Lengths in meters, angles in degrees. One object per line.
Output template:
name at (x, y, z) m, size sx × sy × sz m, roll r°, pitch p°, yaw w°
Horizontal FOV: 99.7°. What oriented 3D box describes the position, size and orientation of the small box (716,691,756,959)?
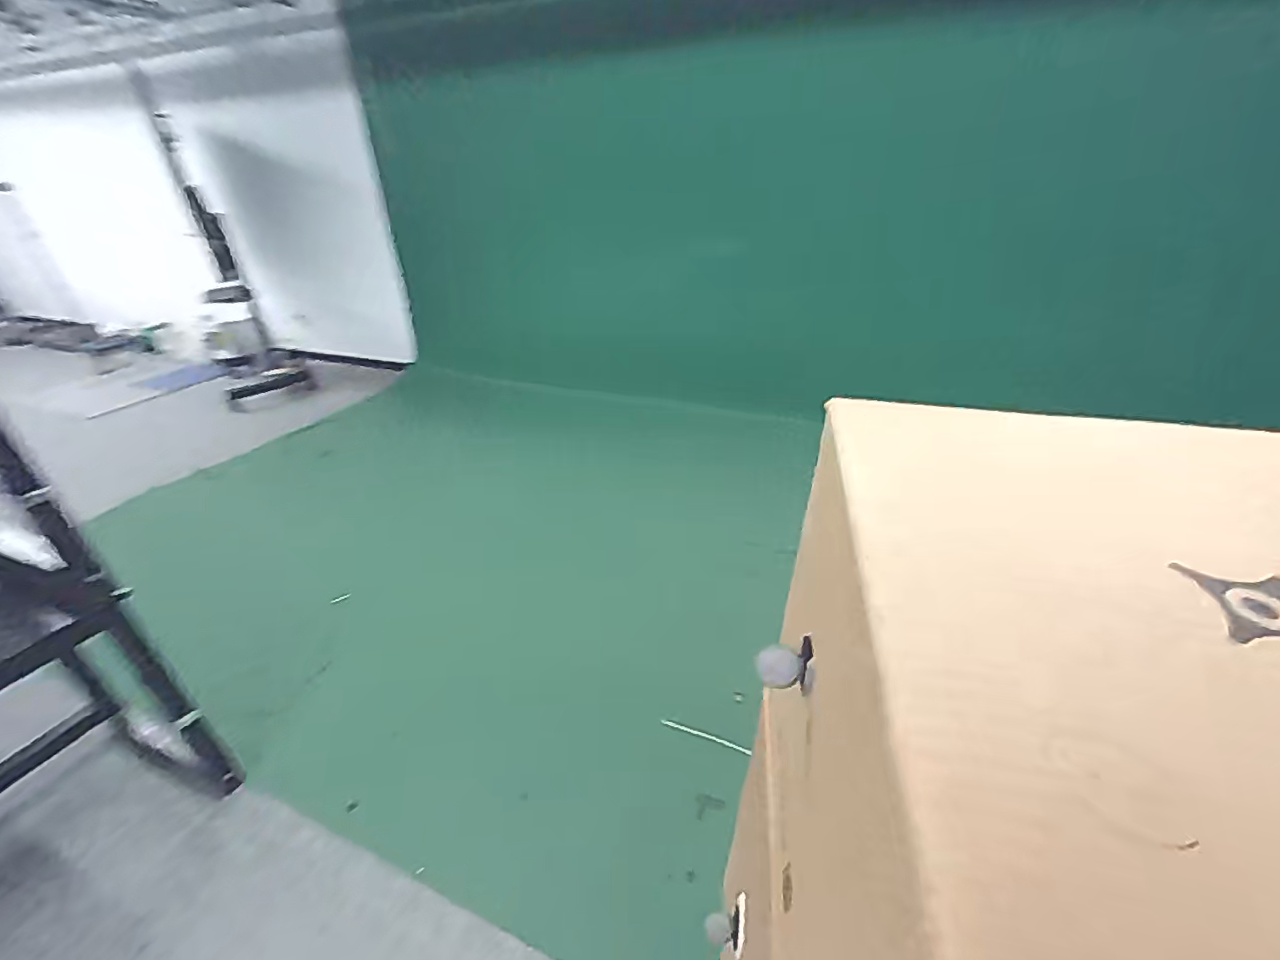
small box at (0.129, 0.228, 0.255) m, size 0.179 × 0.176 × 0.168 m, roll 4°, pitch 35°, yaw 7°
